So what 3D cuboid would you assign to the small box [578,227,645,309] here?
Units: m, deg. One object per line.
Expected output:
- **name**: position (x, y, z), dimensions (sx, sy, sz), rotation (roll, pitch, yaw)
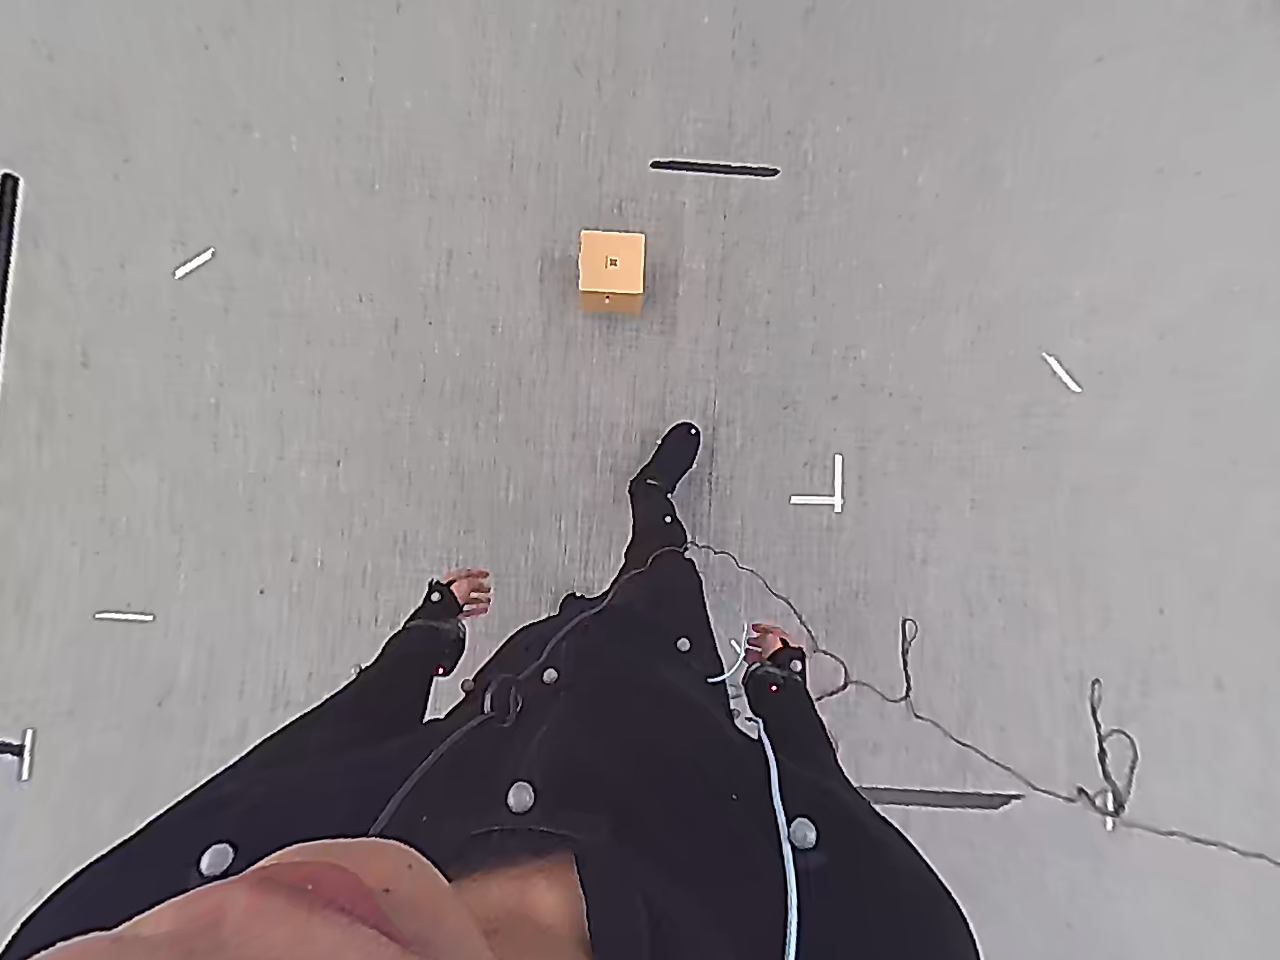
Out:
- **small box**: position (-0.080, -0.595, 1.534), dimensions (0.179, 0.176, 0.168), rotation (2, 89, -2)
